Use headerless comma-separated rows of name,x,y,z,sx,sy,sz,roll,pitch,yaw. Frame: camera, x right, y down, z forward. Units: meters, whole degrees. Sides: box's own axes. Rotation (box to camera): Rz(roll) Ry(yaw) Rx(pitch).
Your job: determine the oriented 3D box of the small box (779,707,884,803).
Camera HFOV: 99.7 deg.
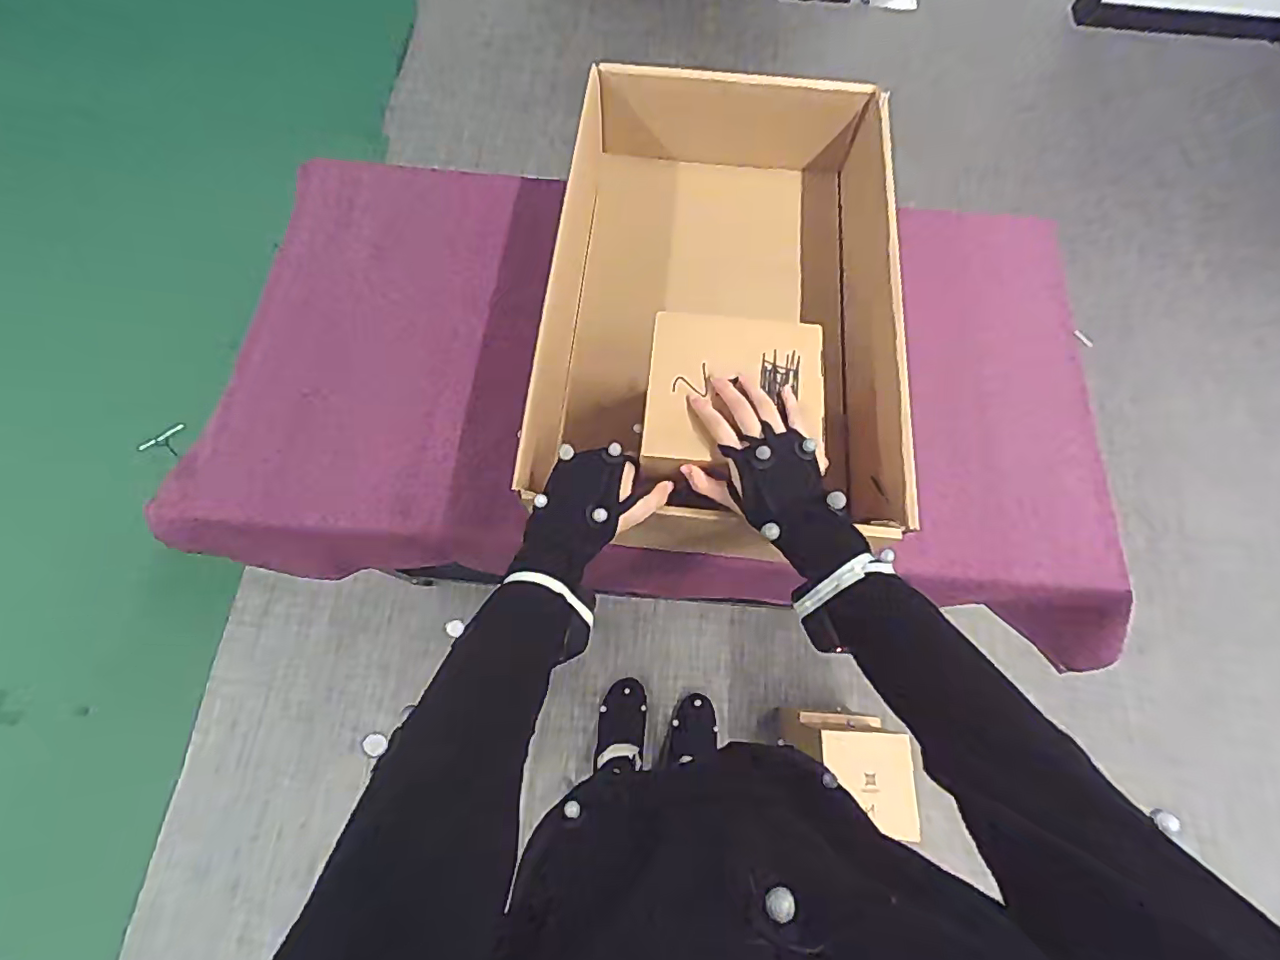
small box,0.421,0.607,1.213,0.179,0.176,0.168,4,71,1
